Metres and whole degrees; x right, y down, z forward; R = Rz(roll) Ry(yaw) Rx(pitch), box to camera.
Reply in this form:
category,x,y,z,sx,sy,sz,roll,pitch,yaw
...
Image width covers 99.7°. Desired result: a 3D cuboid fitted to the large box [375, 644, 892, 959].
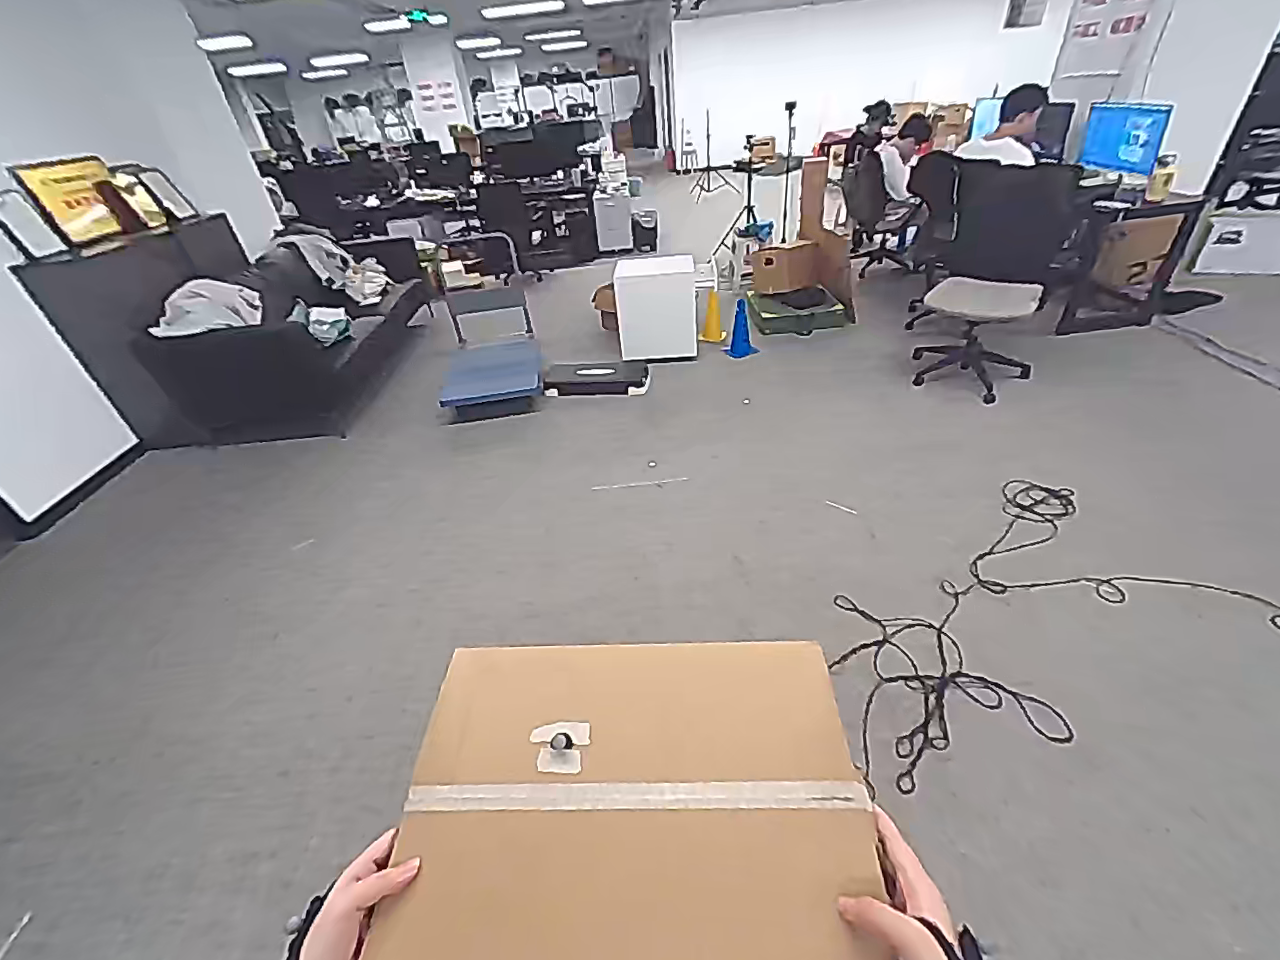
category,x,y,z,sx,sy,sz,roll,pitch,yaw
large box,0.005,0.405,0.588,0.408,0.320,0.320,-4,41,5
